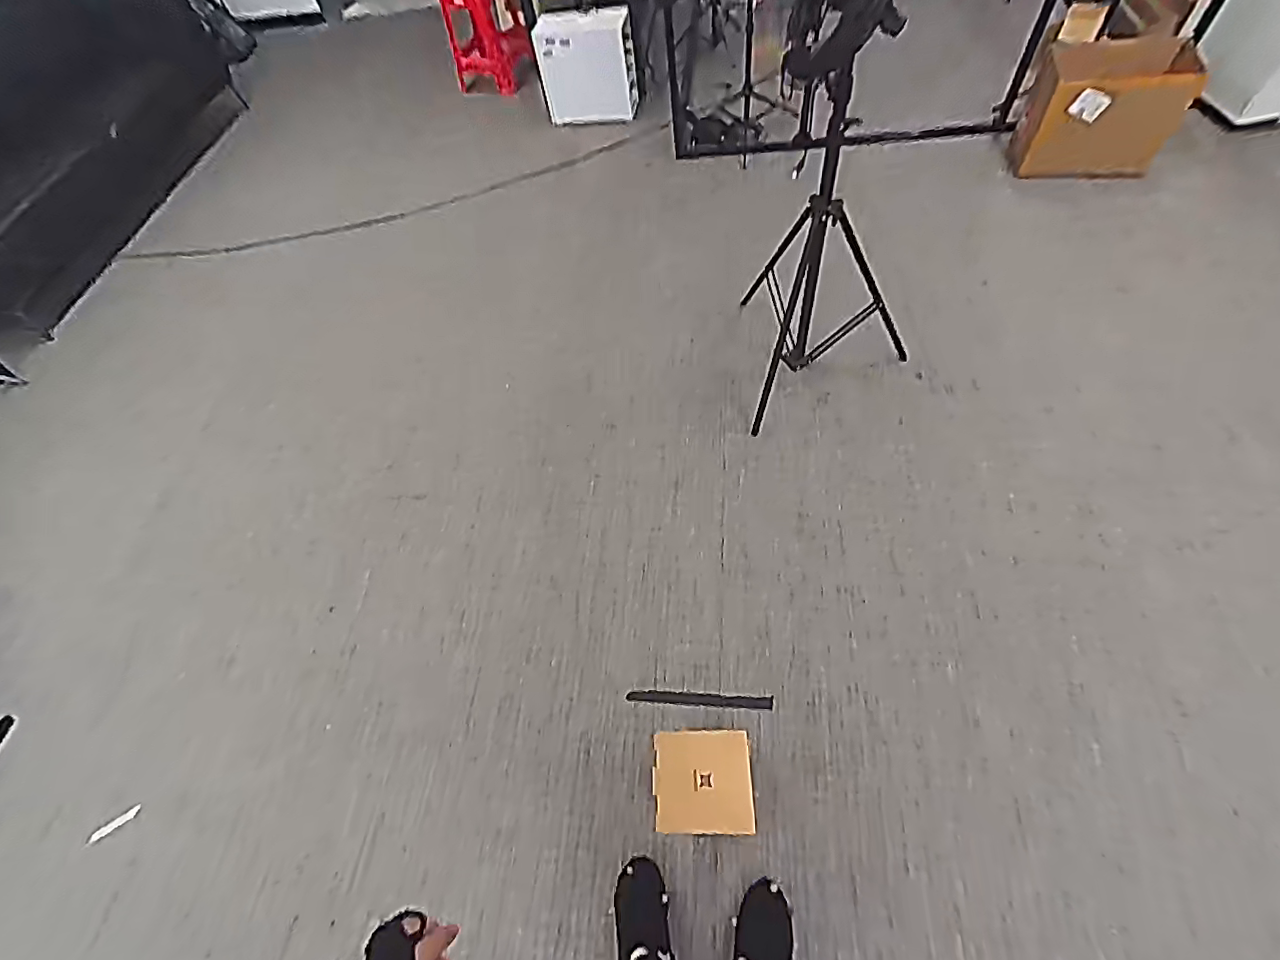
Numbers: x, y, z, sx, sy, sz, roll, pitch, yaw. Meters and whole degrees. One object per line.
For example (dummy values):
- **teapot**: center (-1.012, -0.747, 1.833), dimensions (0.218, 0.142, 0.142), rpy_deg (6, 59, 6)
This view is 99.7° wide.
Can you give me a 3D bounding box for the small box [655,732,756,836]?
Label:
- **small box**: center (0.124, 0.583, 1.043), dimensions (0.179, 0.176, 0.168), rpy_deg (-5, 59, 7)
